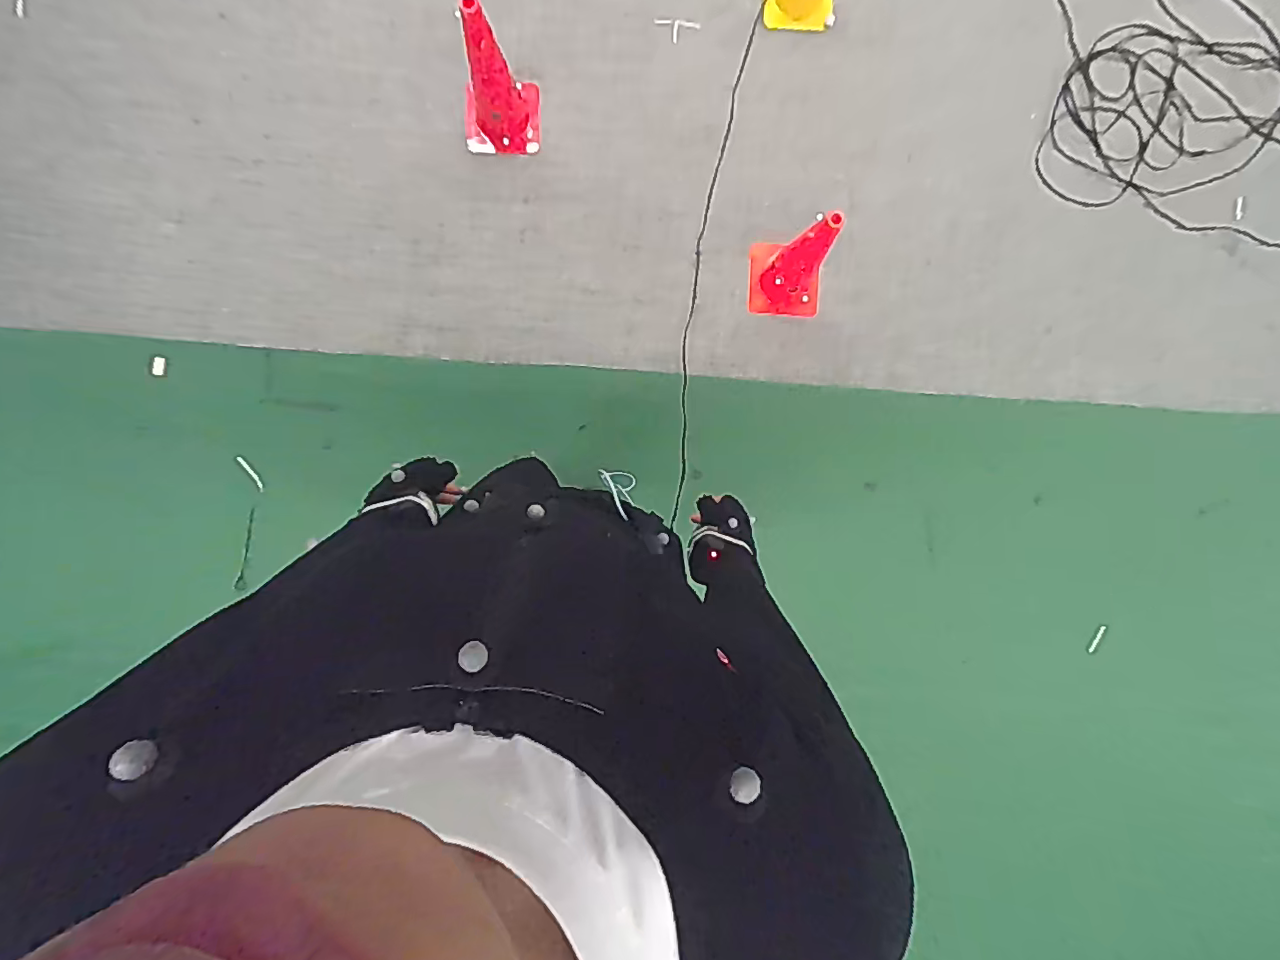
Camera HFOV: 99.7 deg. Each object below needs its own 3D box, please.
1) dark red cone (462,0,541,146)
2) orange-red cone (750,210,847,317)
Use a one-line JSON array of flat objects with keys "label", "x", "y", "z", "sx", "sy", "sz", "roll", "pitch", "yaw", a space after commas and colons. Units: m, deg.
[{"label": "dark red cone", "x": -0.362, "y": -0.999, "z": 1.291, "sx": 0.202, "sy": 0.394, "sz": 0.201, "roll": -2, "pitch": 91, "yaw": -3}, {"label": "orange-red cone", "x": 0.418, "y": -0.568, "z": 1.347, "sx": 0.198, "sy": 0.360, "sz": 0.199, "roll": 4, "pitch": 88, "yaw": -4}]
